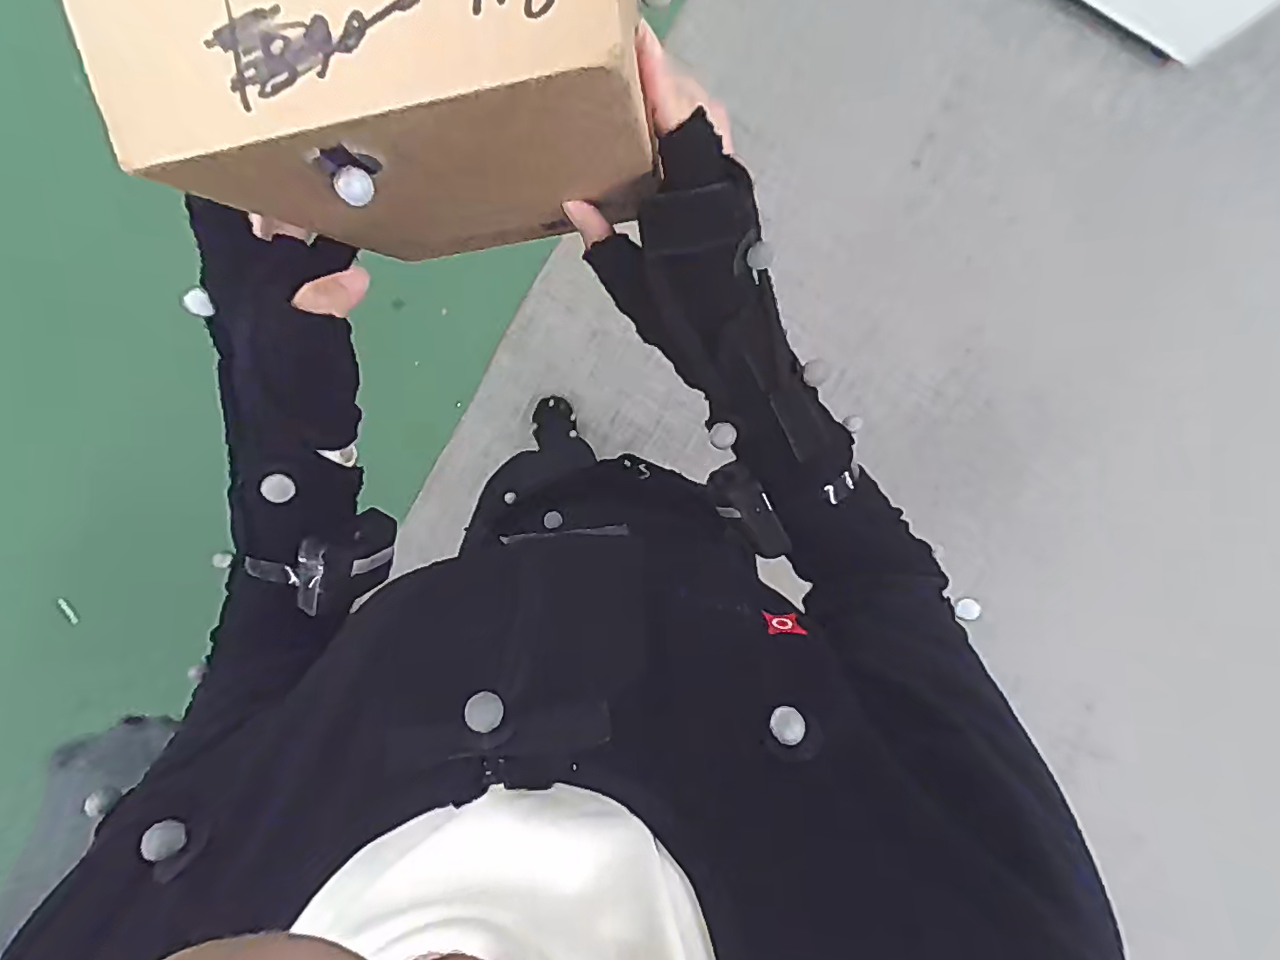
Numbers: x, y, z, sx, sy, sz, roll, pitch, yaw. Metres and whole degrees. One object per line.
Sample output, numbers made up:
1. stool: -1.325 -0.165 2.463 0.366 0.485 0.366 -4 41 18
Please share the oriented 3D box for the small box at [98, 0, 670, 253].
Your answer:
1. small box: -0.081 -0.214 0.227 0.168 0.176 0.179 -5 101 9
